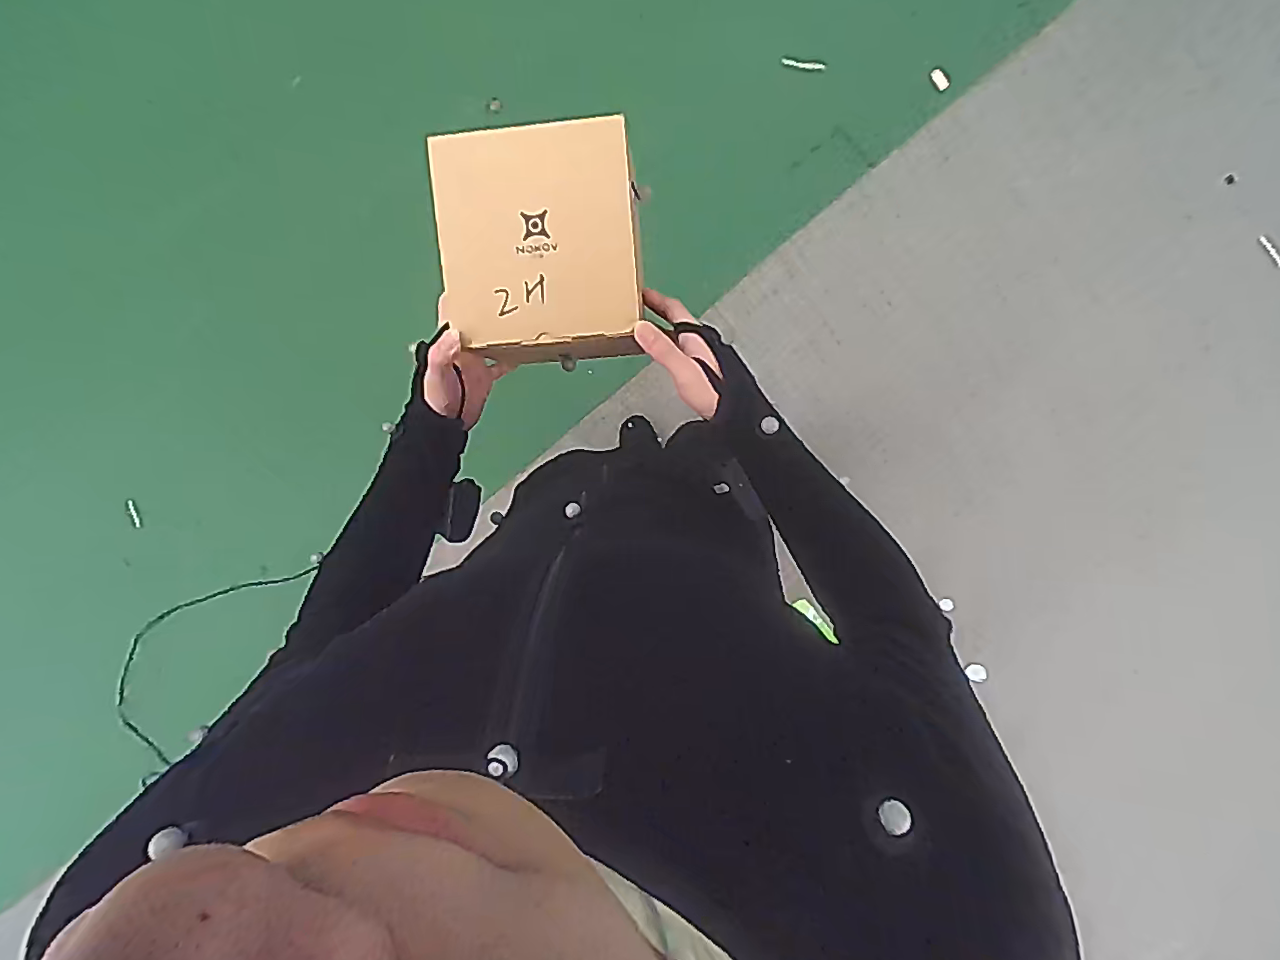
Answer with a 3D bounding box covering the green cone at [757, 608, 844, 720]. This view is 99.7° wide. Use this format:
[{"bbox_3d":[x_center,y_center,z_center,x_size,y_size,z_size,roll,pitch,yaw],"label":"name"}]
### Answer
[{"bbox_3d":[0.475,0.526,1.458,0.202,0.368,0.200,-39,93,6],"label":"green cone"}]
